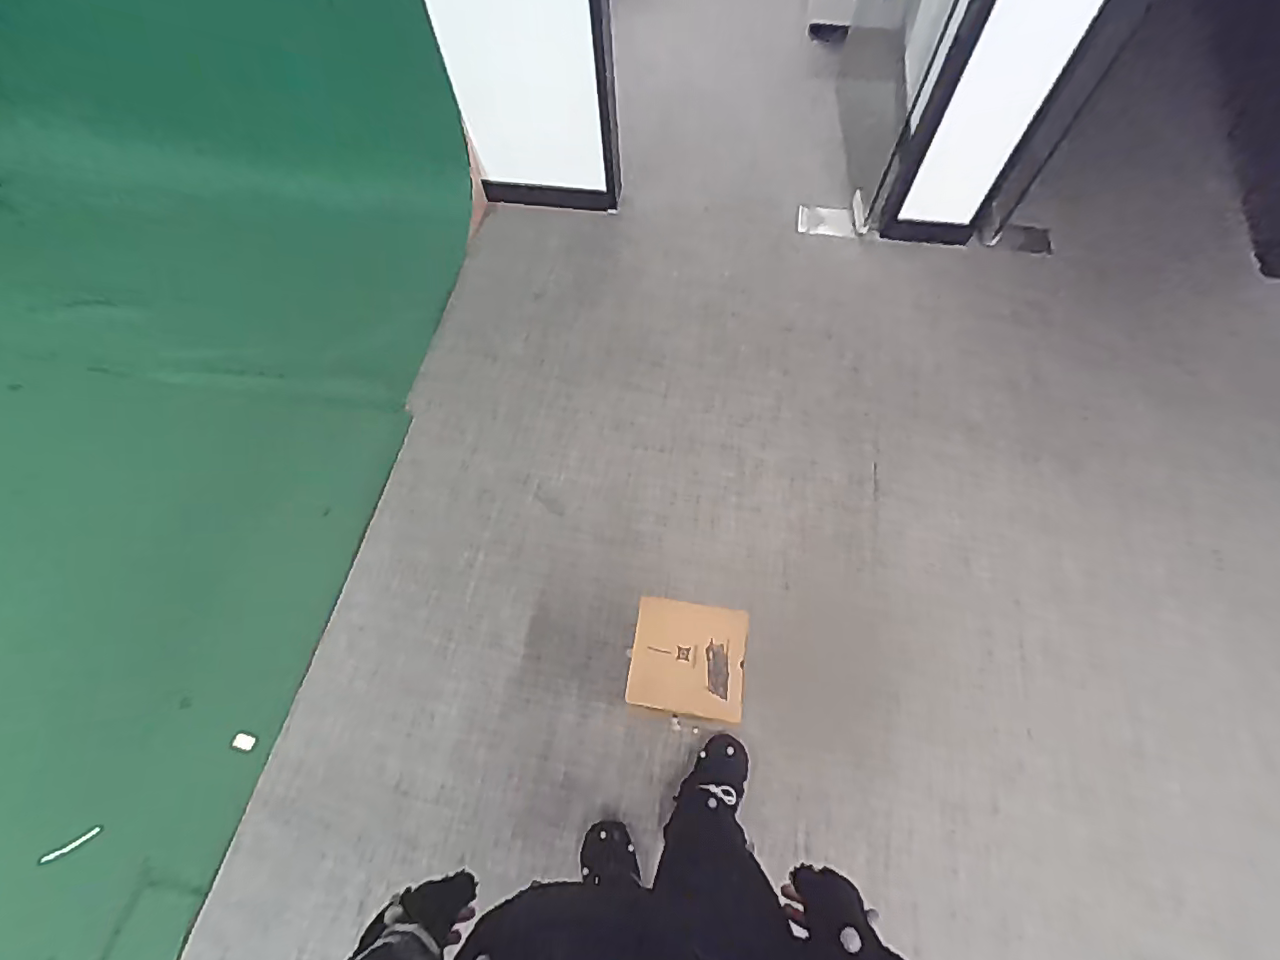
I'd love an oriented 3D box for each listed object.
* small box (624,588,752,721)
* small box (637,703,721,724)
[{"bbox_3d":[0.078,0.298,0.905,0.179,0.176,0.168,11,63,7],"label":"small box"},{"bbox_3d":[0.096,0.440,1.203,0.179,0.176,0.168,7,64,7],"label":"small box"}]
